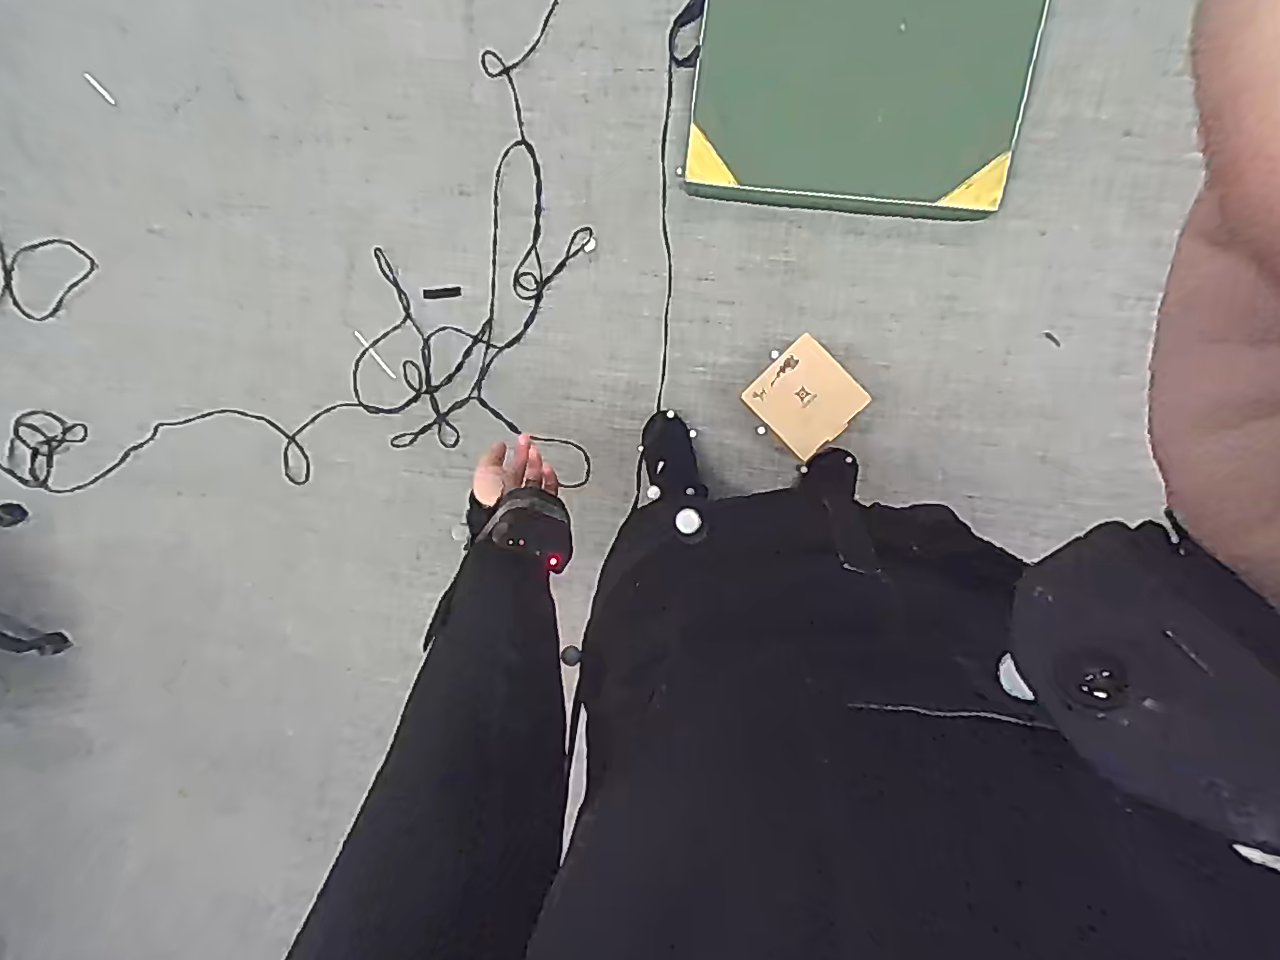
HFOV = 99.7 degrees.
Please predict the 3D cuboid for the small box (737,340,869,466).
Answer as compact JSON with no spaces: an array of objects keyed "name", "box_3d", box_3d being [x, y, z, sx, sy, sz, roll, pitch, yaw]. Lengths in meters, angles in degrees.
[{"name":"small box","box_3d":[0.312,-0.152,1.073,0.168,0.176,0.179,-44,90,10]}]
